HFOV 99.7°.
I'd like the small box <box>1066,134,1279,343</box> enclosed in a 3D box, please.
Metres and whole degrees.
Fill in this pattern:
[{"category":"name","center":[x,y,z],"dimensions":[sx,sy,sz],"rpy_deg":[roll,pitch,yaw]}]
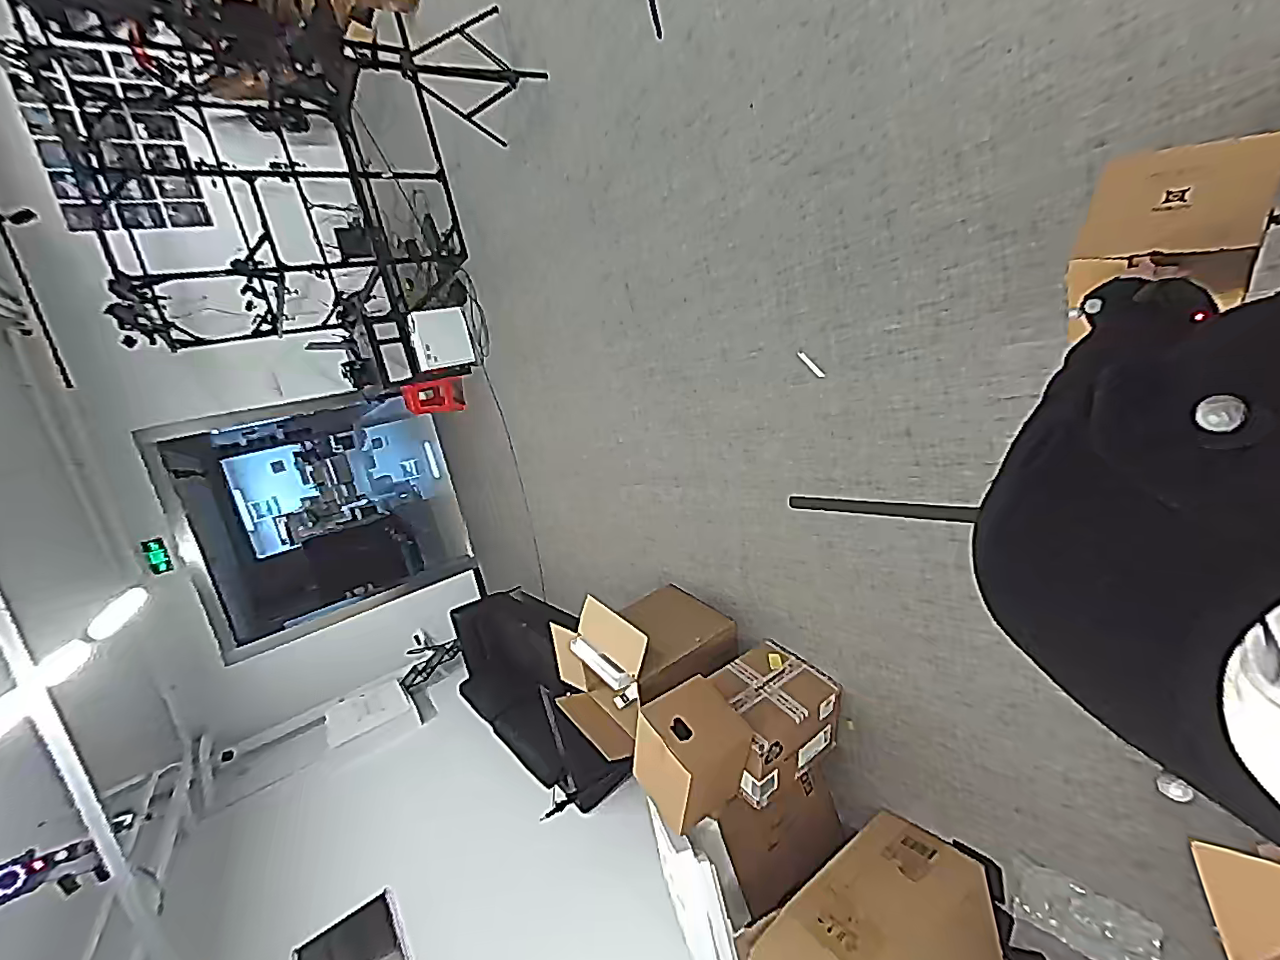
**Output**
[{"category":"small box","center":[0.685,-0.298,0.705],"dimensions":[0.168,0.179,0.176],"rpy_deg":[18,164,43]}]
